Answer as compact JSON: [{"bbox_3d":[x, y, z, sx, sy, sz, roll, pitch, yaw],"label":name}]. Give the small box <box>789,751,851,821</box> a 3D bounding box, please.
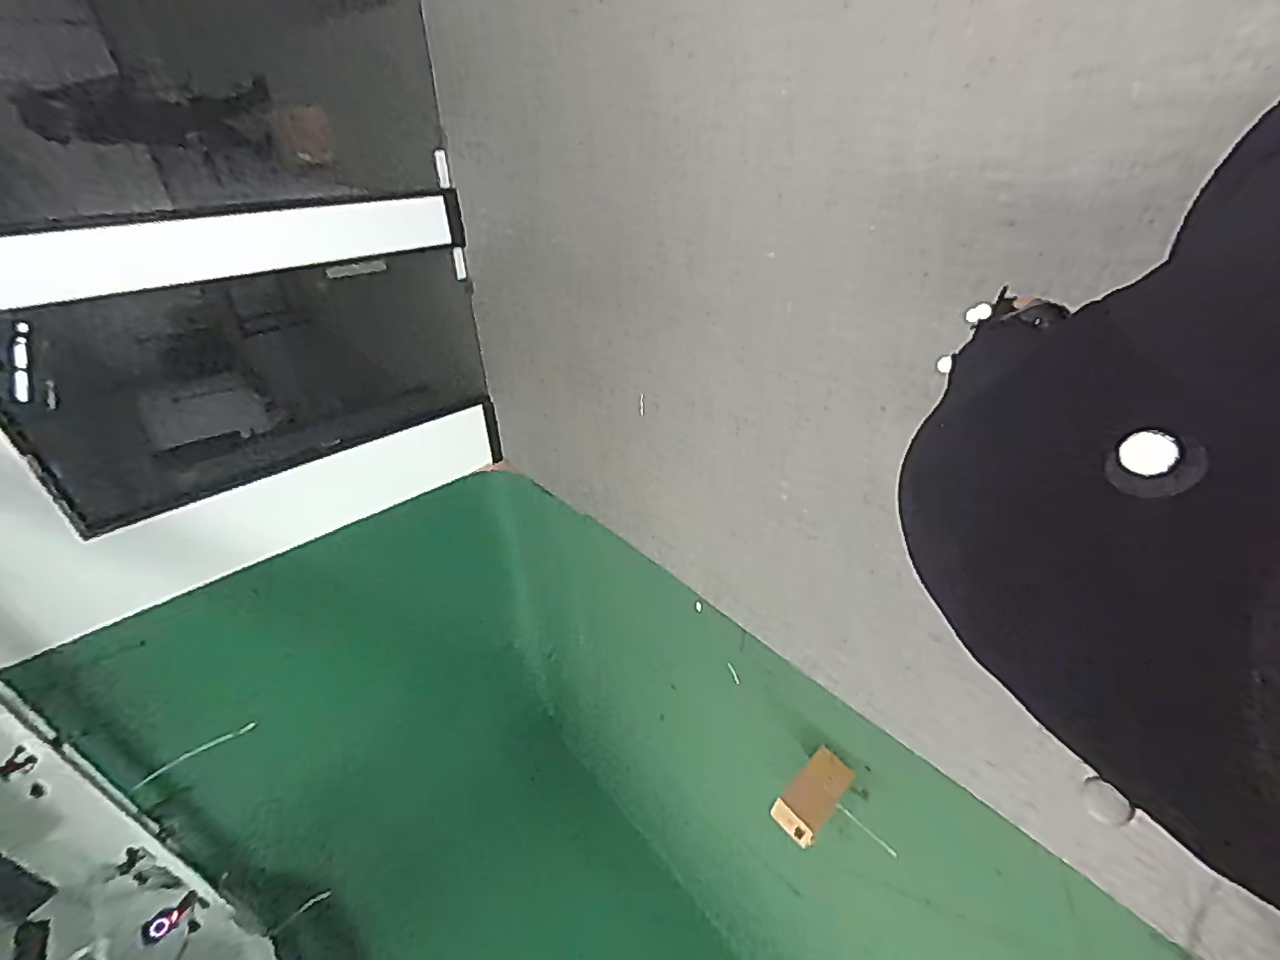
[{"bbox_3d":[0.777,1.310,2.324,0.168,0.176,0.179,38,138,32],"label":"small box"}]
